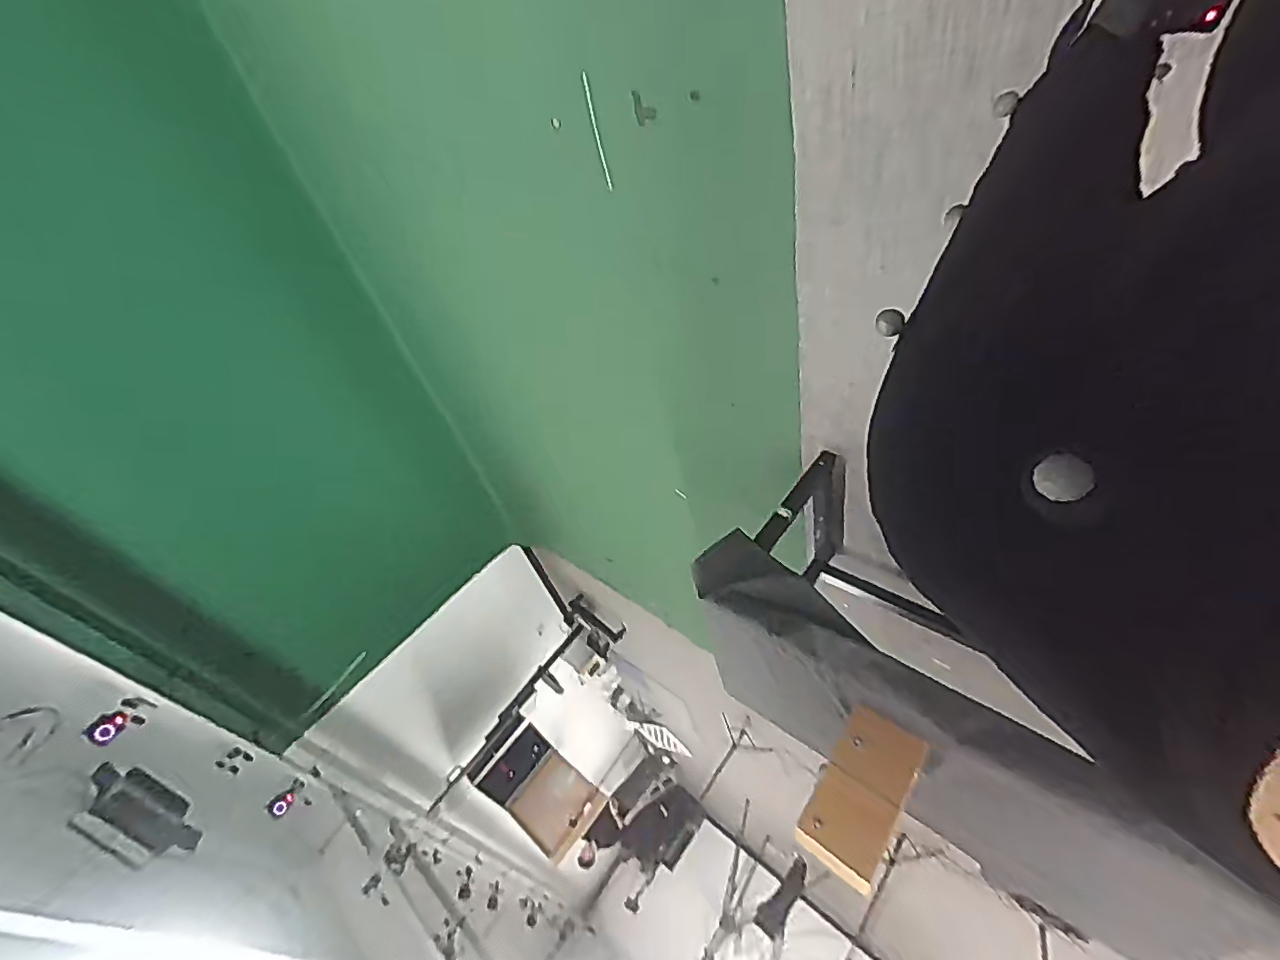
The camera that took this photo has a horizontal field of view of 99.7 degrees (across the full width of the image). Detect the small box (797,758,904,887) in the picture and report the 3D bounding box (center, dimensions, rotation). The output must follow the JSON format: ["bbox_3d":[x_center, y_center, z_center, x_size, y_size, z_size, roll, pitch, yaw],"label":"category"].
[{"bbox_3d":[0.484,0.784,1.245,0.179,0.176,0.168,26,149,35],"label":"small box"}]

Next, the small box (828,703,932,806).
[{"bbox_3d":[0.580,0.675,1.318,0.179,0.176,0.168,23,147,36],"label":"small box"}]
